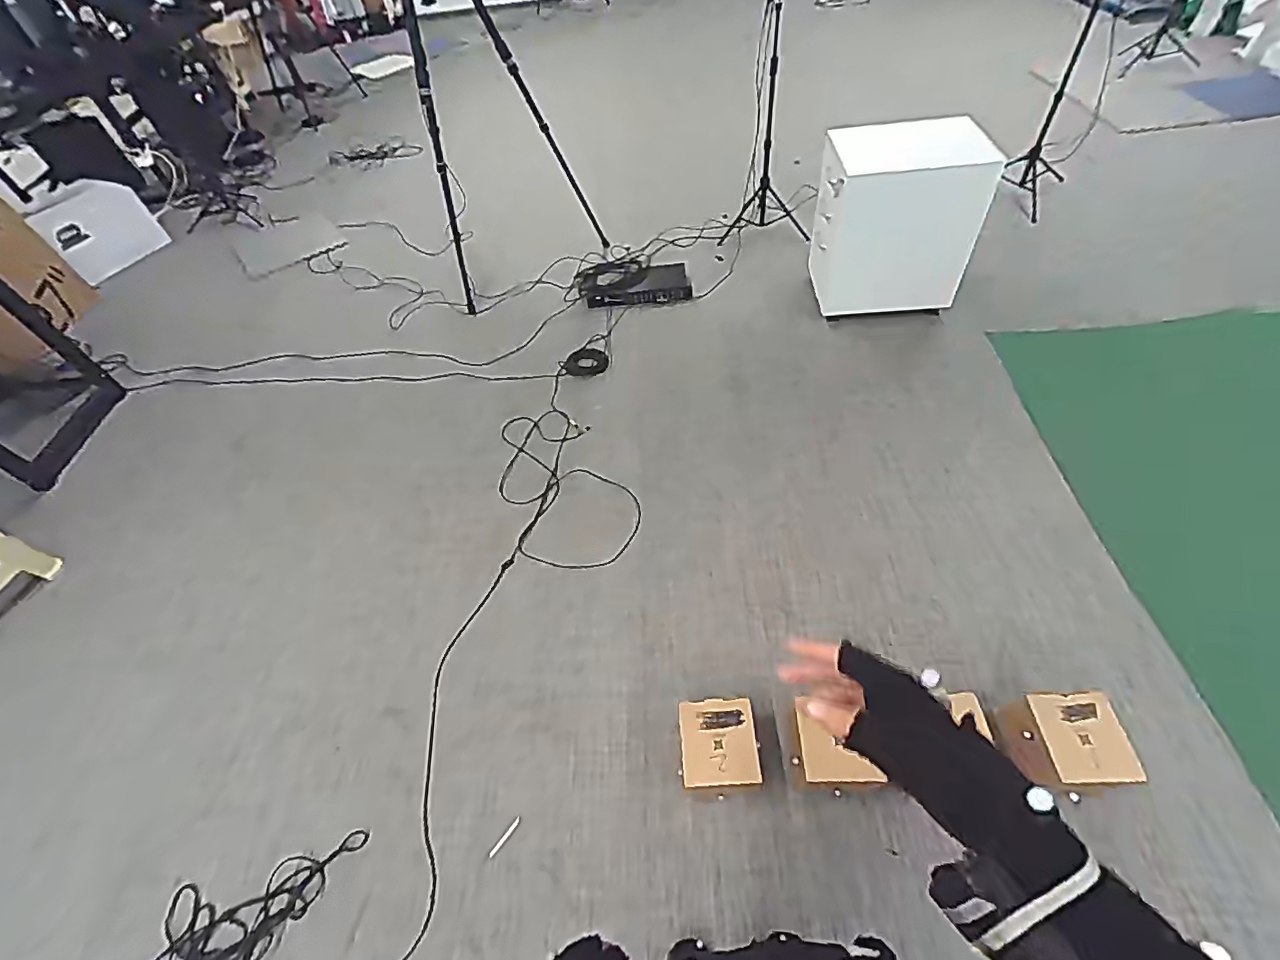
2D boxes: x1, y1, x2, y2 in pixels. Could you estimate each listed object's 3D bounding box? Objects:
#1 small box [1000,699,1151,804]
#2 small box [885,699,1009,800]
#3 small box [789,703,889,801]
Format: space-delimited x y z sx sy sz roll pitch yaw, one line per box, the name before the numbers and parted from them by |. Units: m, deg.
small box | 0.933 0.595 1.182 0.168 0.176 0.179 -4 52 4
small box | 0.671 0.606 1.207 0.168 0.176 0.179 -4 51 3
small box | 0.439 0.618 1.223 0.168 0.176 0.179 -2 51 4
